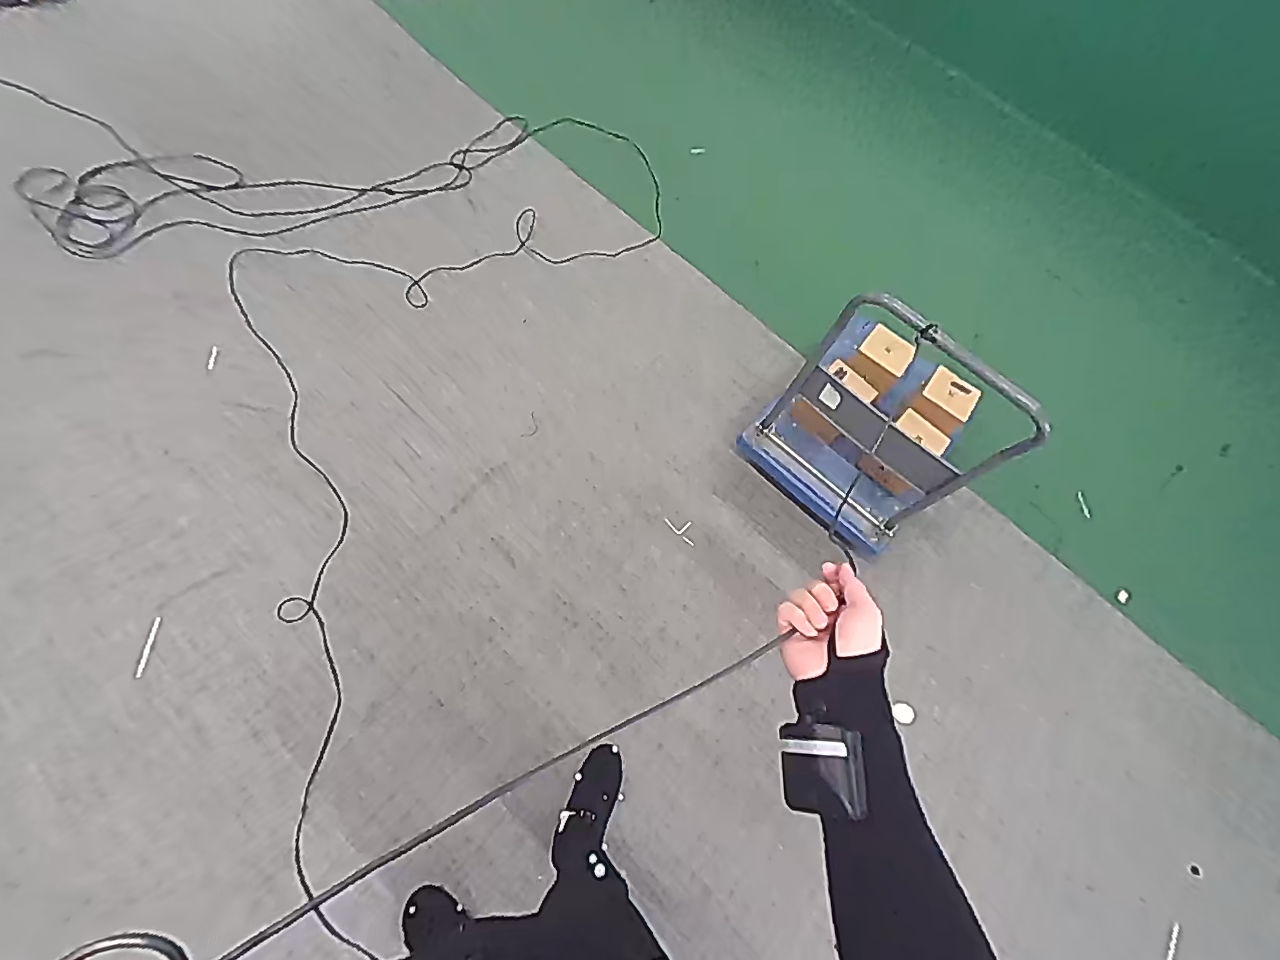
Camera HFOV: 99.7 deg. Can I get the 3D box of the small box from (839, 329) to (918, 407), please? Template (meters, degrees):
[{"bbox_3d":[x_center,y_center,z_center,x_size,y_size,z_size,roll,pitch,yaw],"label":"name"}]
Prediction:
[{"bbox_3d":[0.833,-0.390,1.909,0.168,0.176,0.179,39,61,9],"label":"small box"}]

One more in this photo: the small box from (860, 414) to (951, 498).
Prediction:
[{"bbox_3d":[0.850,-0.075,1.746,0.168,0.176,0.179,43,63,11],"label":"small box"}]

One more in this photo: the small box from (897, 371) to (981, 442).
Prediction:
[{"bbox_3d":[1.028,-0.235,1.870,0.168,0.176,0.179,39,62,10],"label":"small box"}]
